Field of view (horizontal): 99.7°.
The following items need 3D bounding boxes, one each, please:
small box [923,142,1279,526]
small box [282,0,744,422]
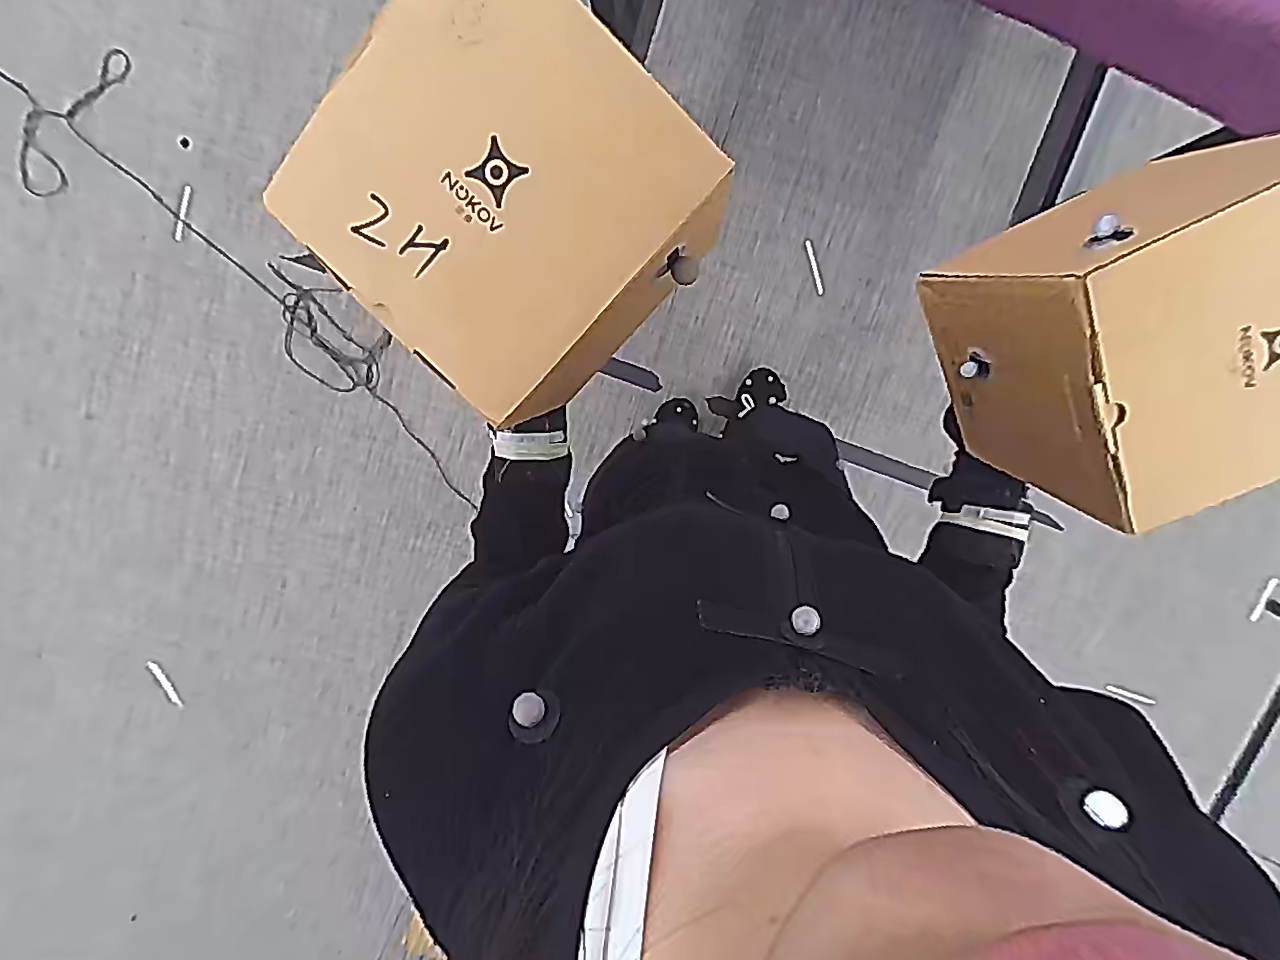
[{"bbox_3d":[0.333,-0.103,0.364,0.179,0.176,0.168,-26,109,9],"label":"small box"},{"bbox_3d":[-0.060,-0.163,0.340,0.168,0.176,0.179,44,104,-5],"label":"small box"}]
